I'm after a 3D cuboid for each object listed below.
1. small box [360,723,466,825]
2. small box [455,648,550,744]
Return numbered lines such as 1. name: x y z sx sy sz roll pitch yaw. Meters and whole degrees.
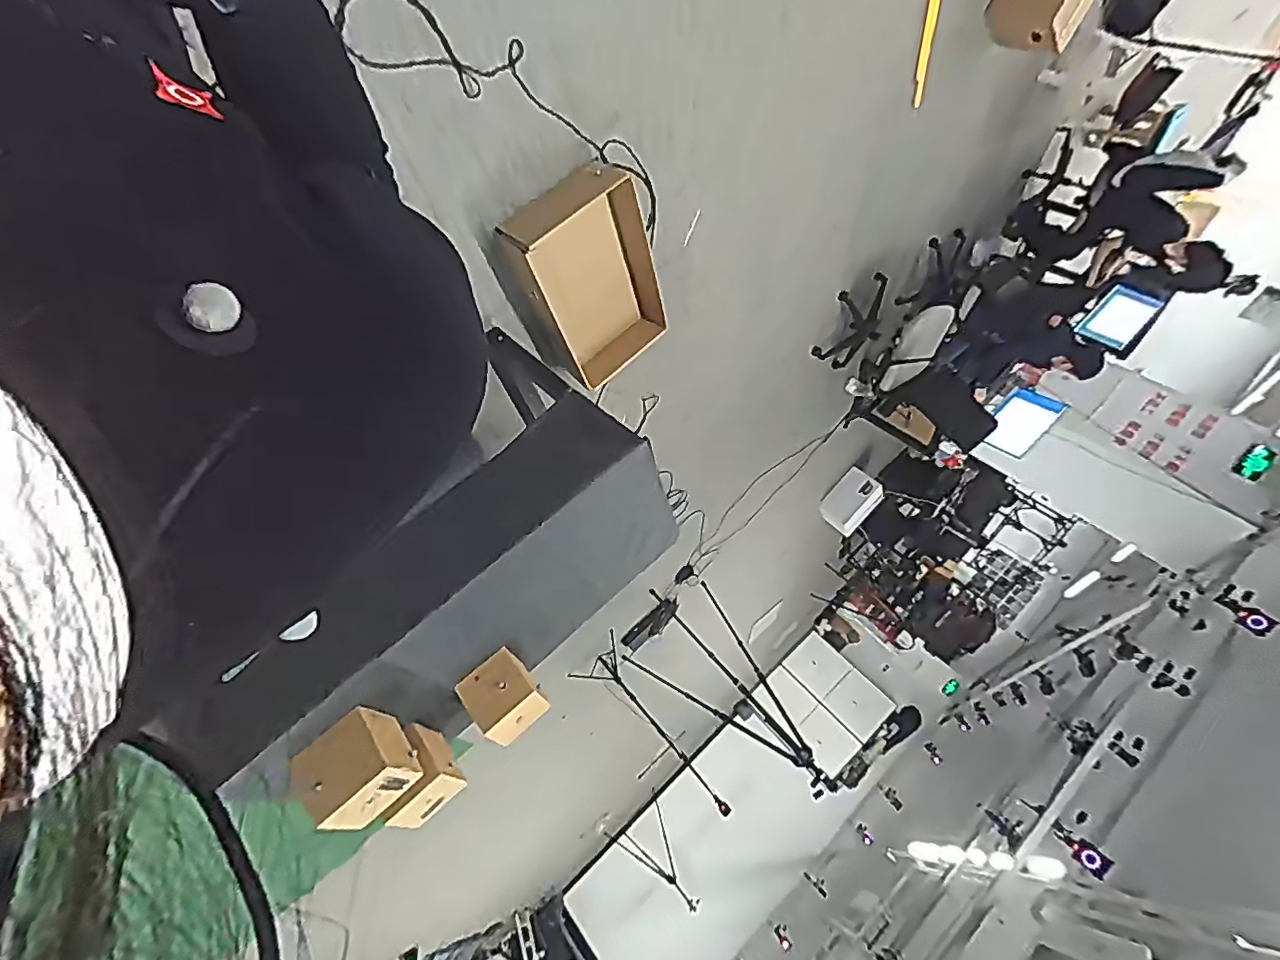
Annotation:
1. small box: -0.601 0.778 1.436 0.168 0.176 0.179 -39 148 -17
2. small box: -0.386 0.601 1.517 0.168 0.176 0.179 -38 148 -17
